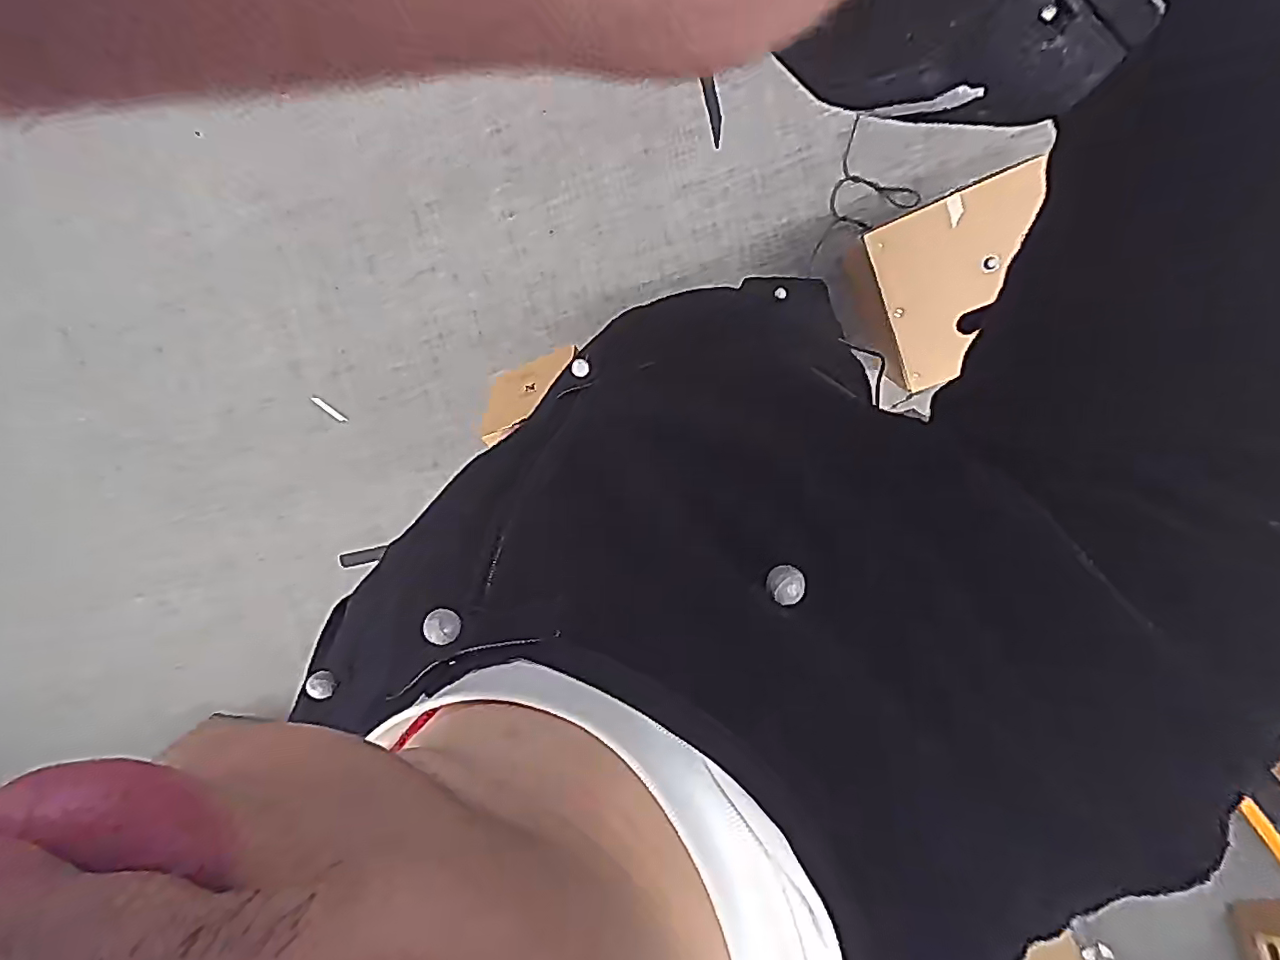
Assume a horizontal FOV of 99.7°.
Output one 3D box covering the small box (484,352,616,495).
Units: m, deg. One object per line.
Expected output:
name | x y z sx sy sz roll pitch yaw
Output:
small box | -0.153 -0.093 0.980 0.168 0.179 0.176 -19 131 16
